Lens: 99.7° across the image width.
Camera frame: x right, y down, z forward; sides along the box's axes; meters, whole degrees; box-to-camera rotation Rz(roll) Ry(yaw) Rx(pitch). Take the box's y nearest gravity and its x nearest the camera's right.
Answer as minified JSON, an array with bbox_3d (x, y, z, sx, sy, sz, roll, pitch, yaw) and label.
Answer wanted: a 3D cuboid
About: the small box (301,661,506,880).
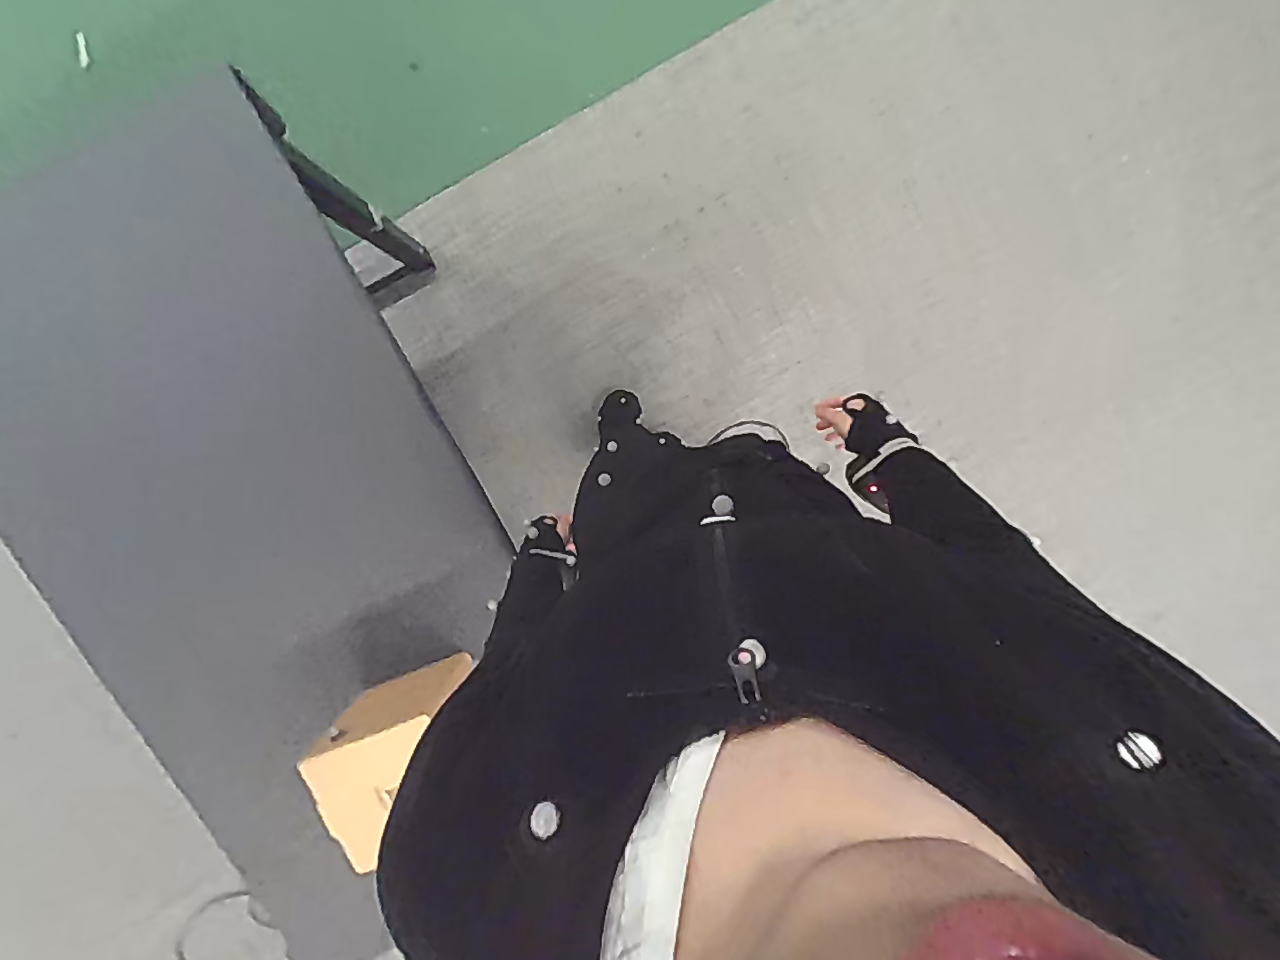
[{"bbox_3d":[-0.296,0.375,0.730,0.179,0.176,0.168,-23,98,3],"label":"small box"}]
